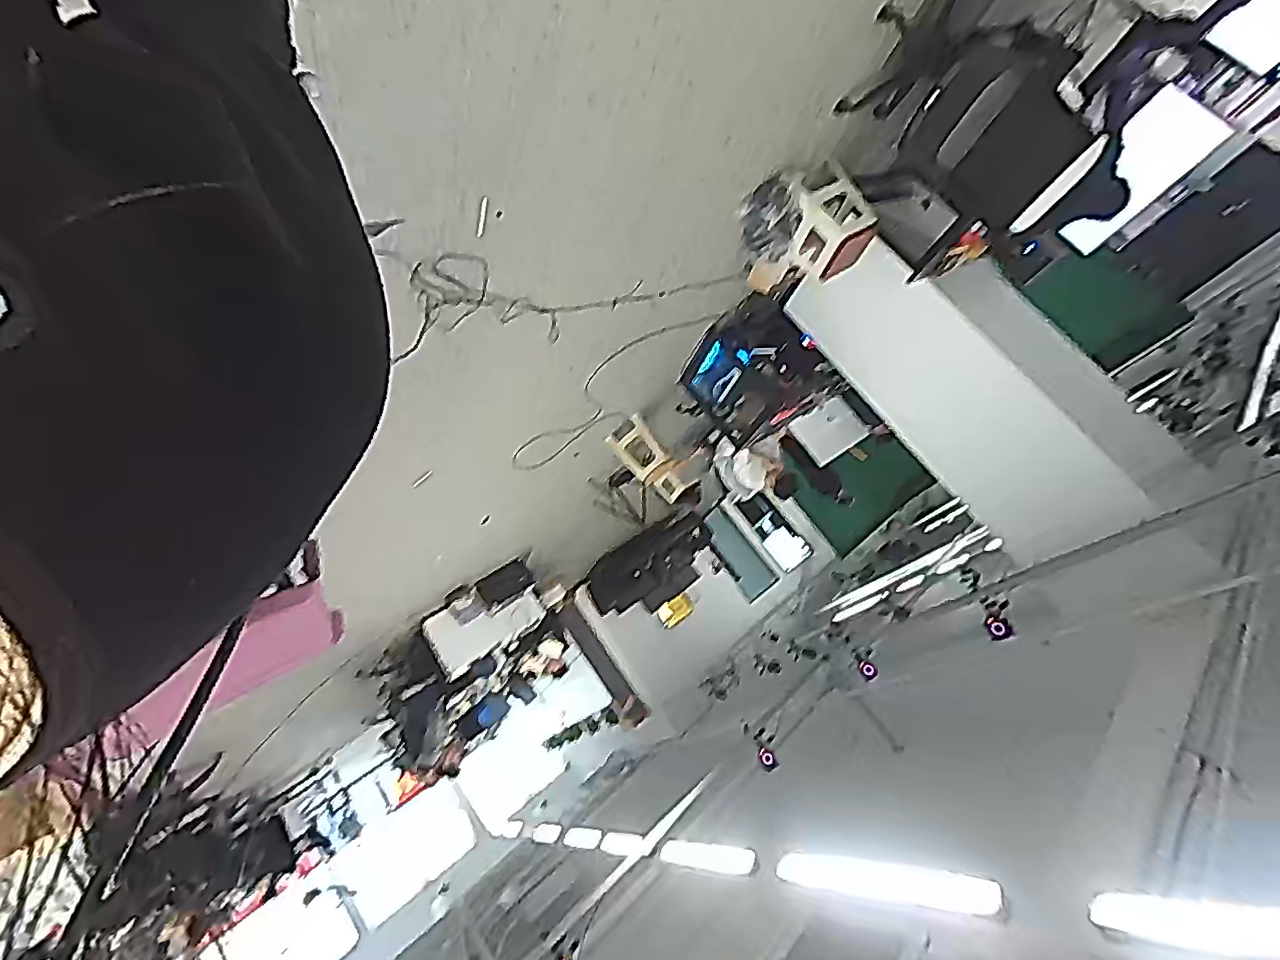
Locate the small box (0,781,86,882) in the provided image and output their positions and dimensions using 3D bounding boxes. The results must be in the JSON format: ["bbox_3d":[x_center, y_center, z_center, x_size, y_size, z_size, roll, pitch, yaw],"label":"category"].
[{"bbox_3d":[-1.672,0.950,1.466,0.168,0.176,0.179,-29,163,-35],"label":"small box"}]
